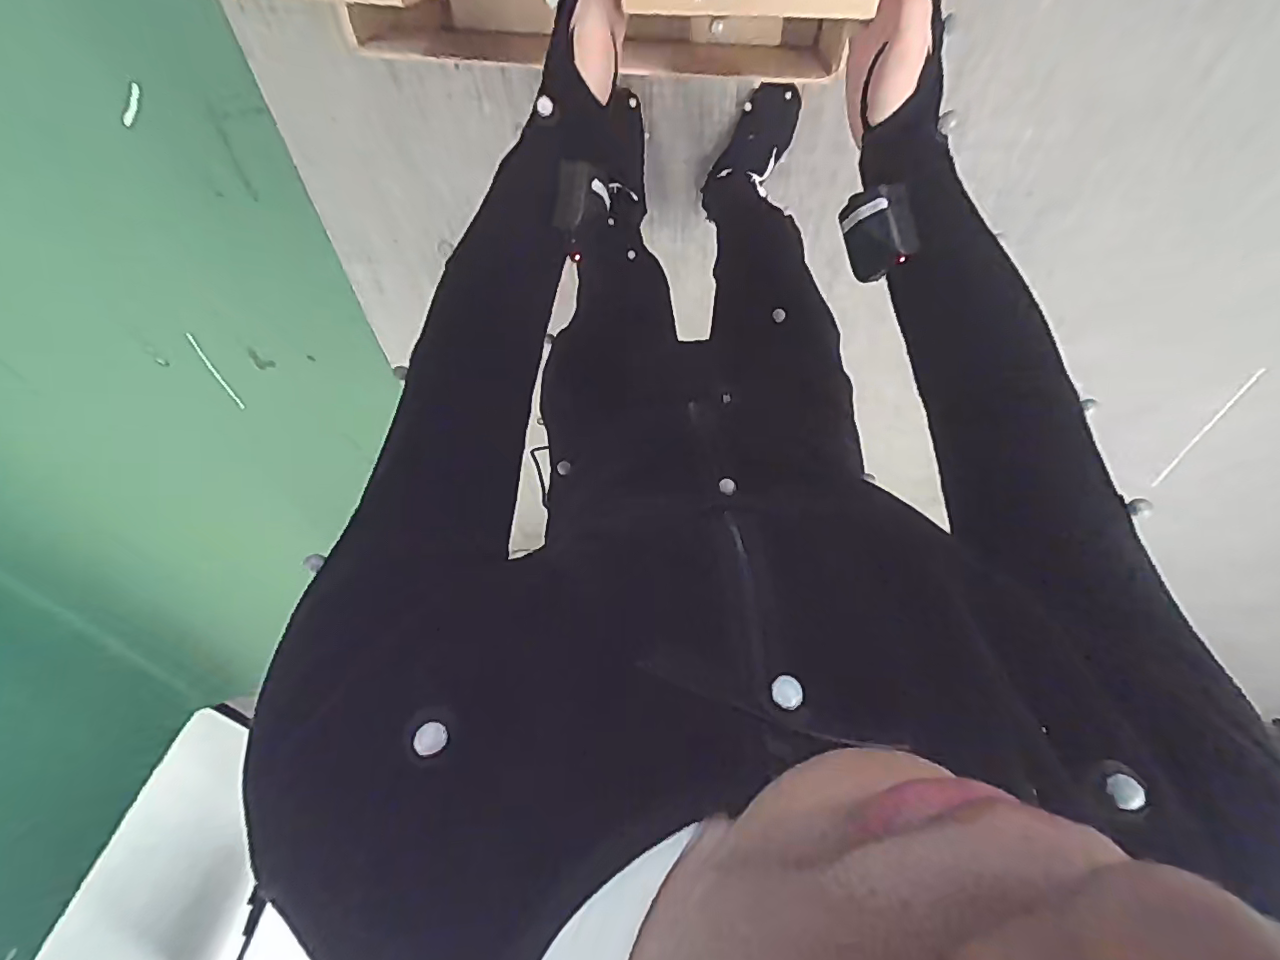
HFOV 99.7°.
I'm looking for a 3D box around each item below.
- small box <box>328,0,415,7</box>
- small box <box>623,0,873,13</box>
[{"bbox_3d":[-0.228,-0.445,0.358,0.168,0.176,0.179,7,138,3],"label":"small box"},{"bbox_3d":[0.073,-0.420,0.338,0.168,0.176,0.179,4,139,4],"label":"small box"}]
